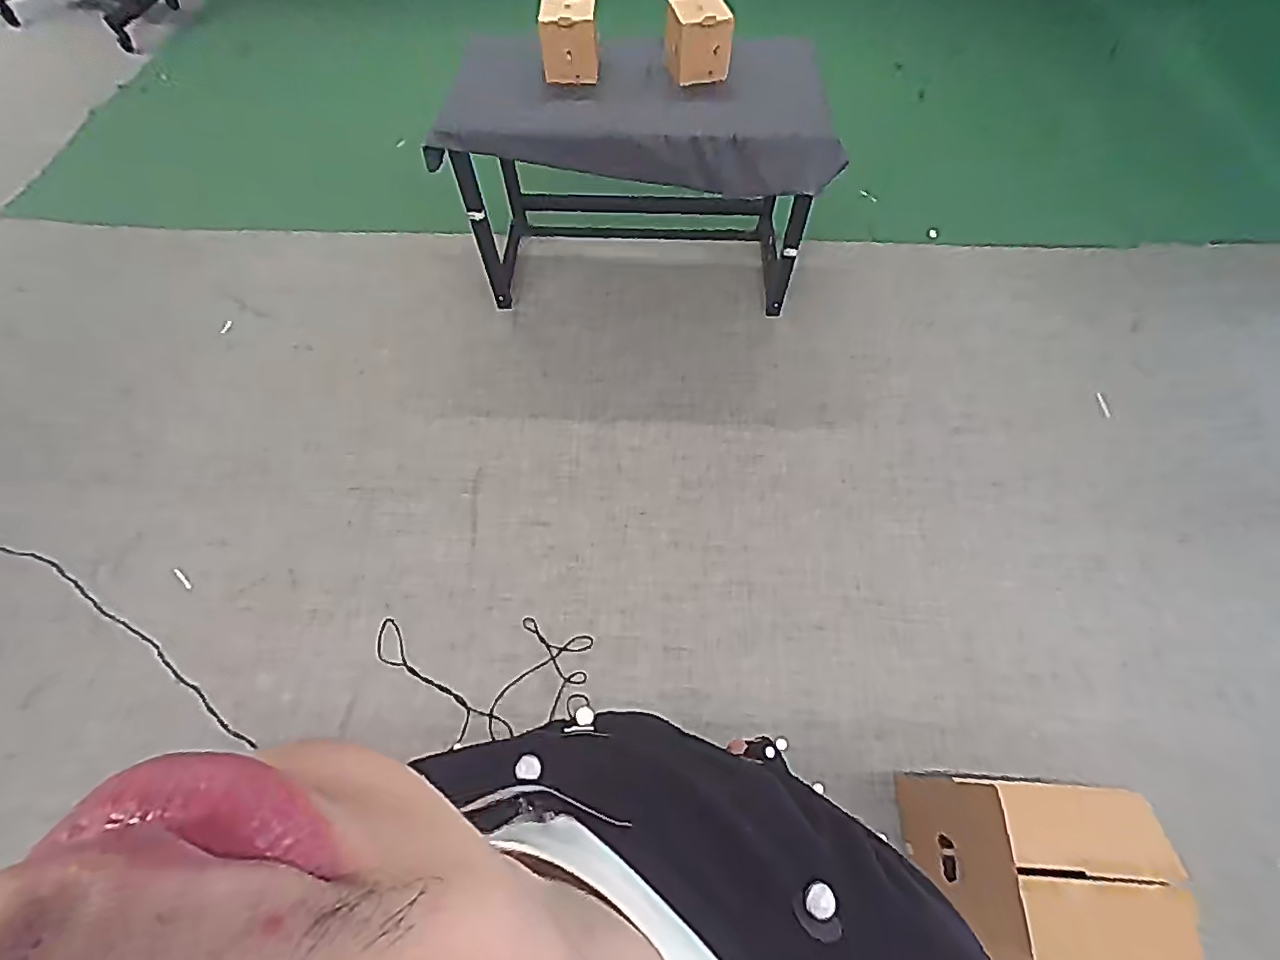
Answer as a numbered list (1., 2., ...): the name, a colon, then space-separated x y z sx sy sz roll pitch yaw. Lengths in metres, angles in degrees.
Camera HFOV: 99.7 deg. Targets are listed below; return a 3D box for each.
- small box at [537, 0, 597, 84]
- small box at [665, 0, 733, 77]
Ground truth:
1. small box: -0.225 -1.386 1.710 0.168 0.176 0.179 -3 61 0
2. small box: 0.179 -1.394 1.691 0.168 0.176 0.179 -9 62 -8
